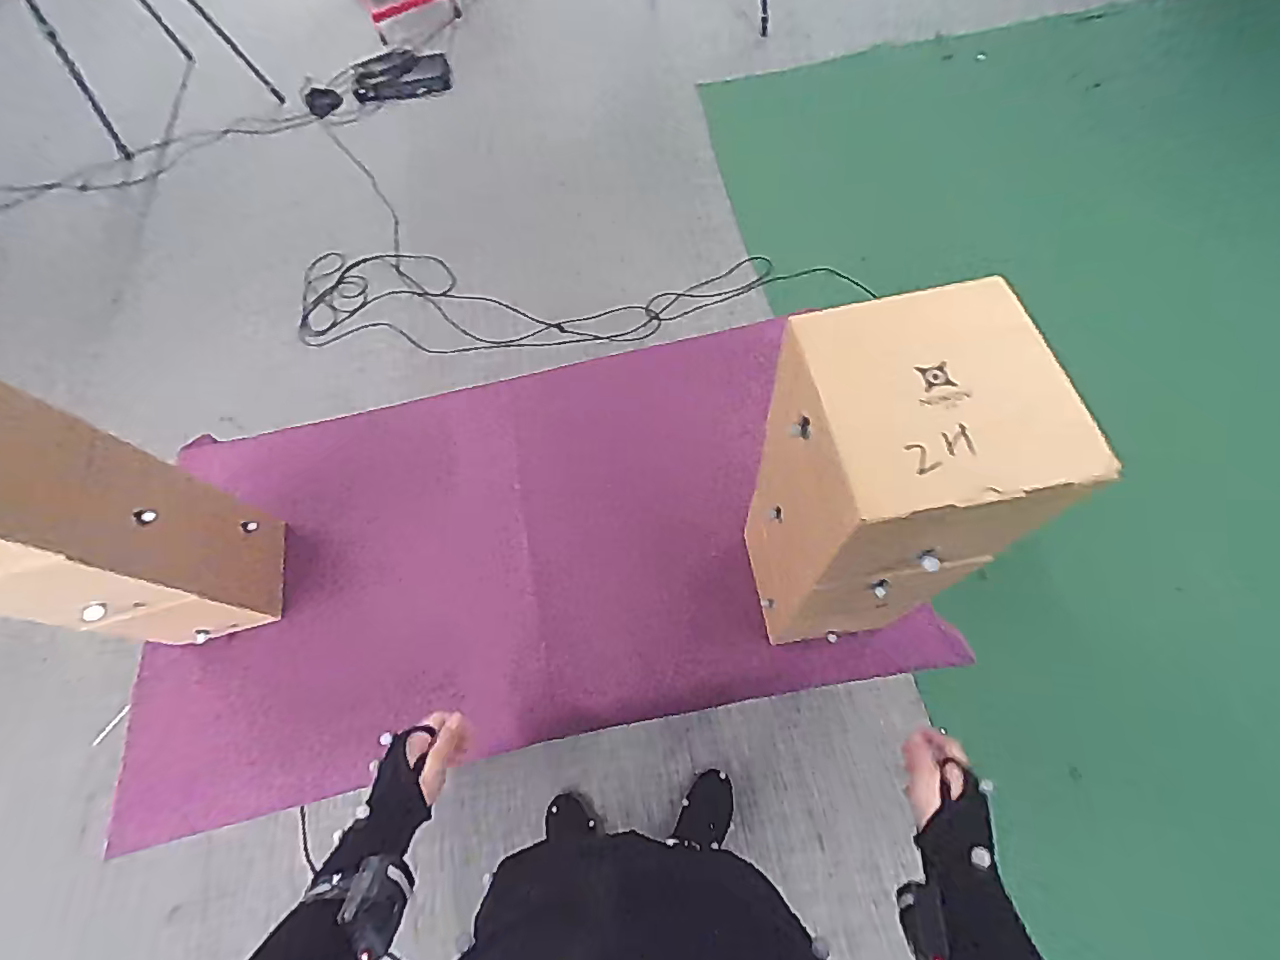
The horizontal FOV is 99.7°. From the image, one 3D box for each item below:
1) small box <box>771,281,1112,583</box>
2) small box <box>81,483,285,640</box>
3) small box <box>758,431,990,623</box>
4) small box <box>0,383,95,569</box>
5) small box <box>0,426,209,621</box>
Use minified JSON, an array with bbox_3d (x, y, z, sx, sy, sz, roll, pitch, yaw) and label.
[{"bbox_3d":[0.215,-0.029,0.451,0.168,0.176,0.179,-10,65,2],"label":"small box"},{"bbox_3d":[-0.681,0.131,0.833,0.168,0.176,0.179,-15,66,-1],"label":"small box"},{"bbox_3d":[0.233,0.044,0.597,0.168,0.176,0.179,-10,63,3],"label":"small box"},{"bbox_3d":[-0.711,-0.005,0.539,0.168,0.176,0.179,-16,65,-1],"label":"small box"},{"bbox_3d":[-0.695,0.062,0.685,0.168,0.176,0.179,-15,65,-1],"label":"small box"}]
